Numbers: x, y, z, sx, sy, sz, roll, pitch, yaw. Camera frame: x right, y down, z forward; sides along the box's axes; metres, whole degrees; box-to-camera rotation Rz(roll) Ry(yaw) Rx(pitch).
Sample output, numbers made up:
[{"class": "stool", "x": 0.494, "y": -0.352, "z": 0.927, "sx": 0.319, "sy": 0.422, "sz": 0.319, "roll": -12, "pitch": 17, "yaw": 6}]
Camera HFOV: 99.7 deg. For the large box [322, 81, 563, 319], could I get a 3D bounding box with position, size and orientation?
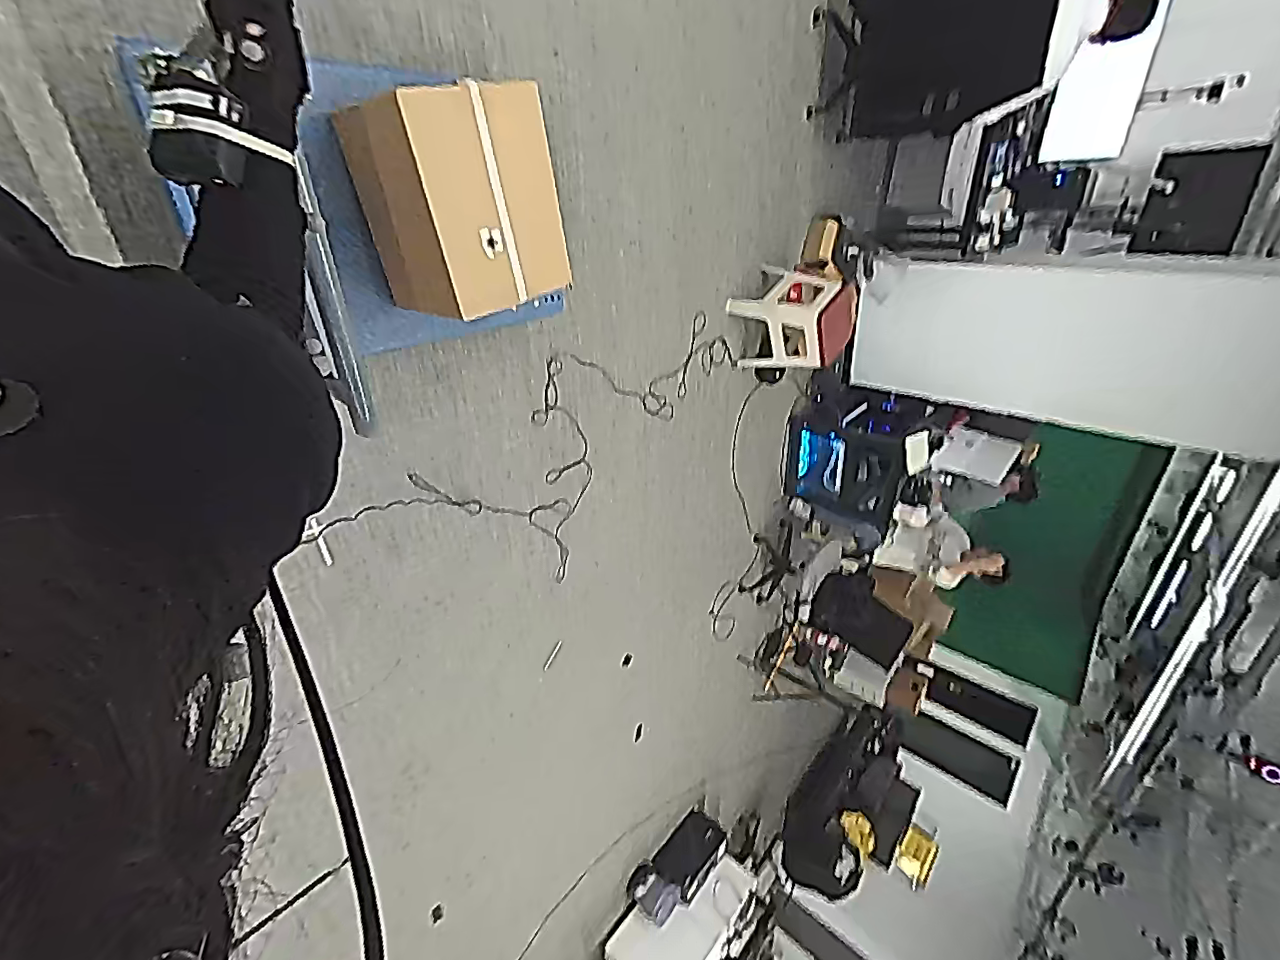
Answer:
[{"class": "large box", "x": -0.419, "y": -0.617, "z": 1.201, "sx": 0.320, "sy": 0.320, "sz": 0.408, "roll": -35, "pitch": 132, "yaw": -35}]
